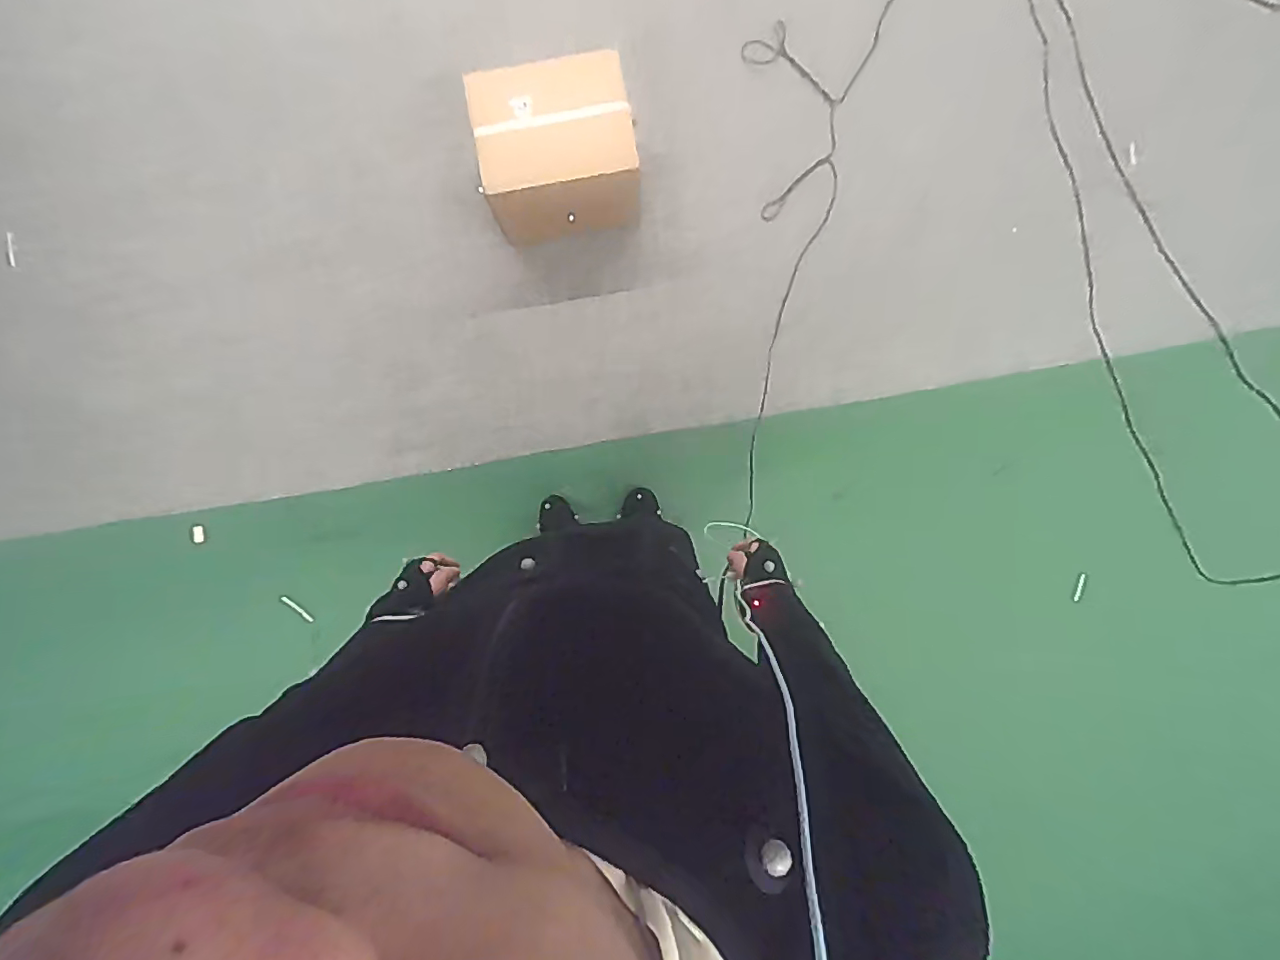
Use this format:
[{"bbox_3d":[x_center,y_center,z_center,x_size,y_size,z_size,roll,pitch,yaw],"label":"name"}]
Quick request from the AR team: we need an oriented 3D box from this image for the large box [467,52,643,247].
[{"bbox_3d":[-0.218,-0.904,1.527,0.408,0.320,0.320,-11,89,1],"label":"large box"}]
